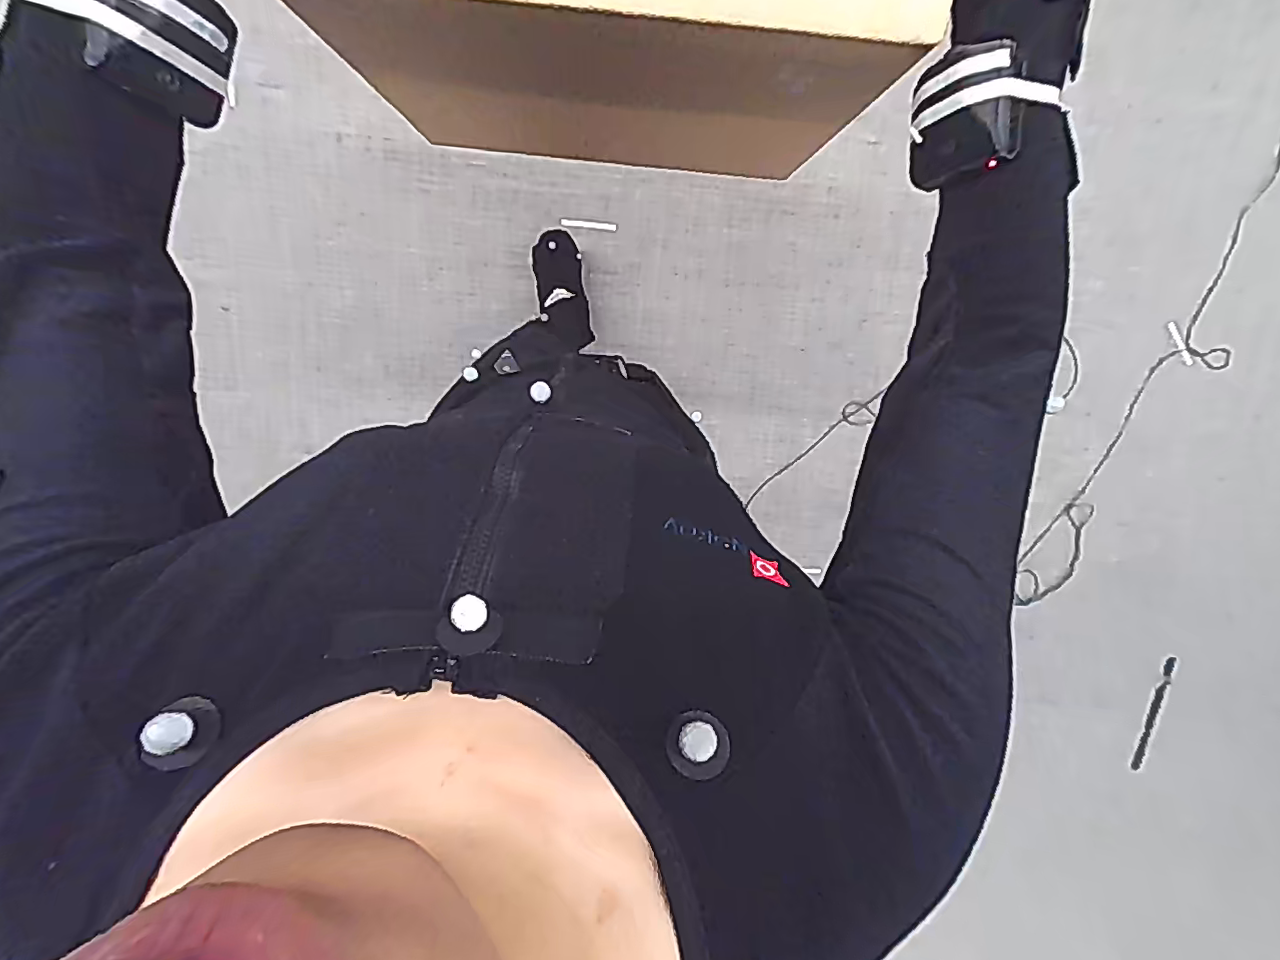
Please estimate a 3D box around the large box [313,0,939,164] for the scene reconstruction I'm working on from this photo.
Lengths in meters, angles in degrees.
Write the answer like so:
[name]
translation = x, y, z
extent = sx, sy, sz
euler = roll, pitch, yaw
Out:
[large box]
translation = -0.015, -0.473, 0.426
extent = 0.408, 0.320, 0.320
euler = 3, 106, -4
